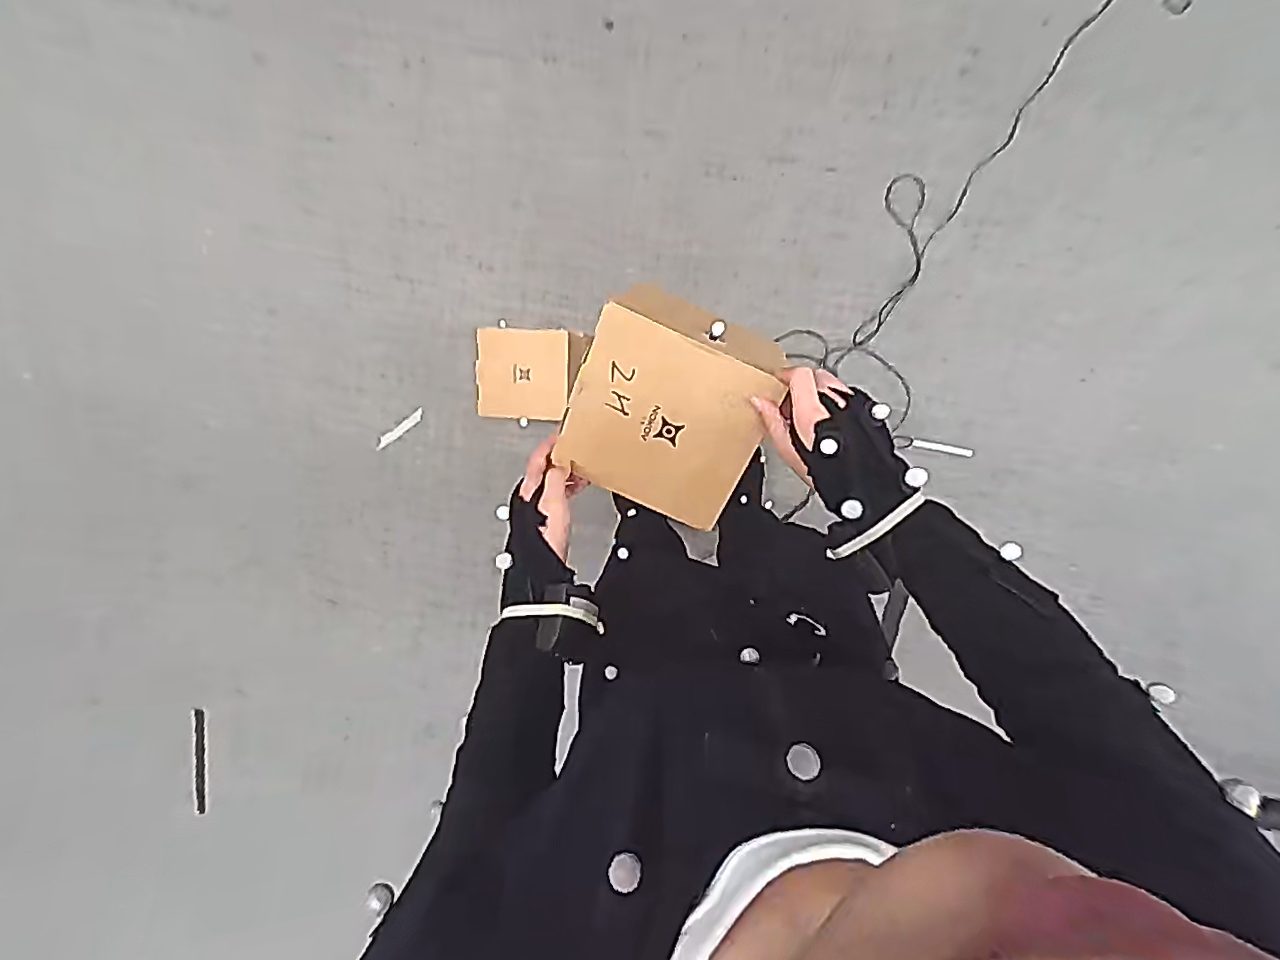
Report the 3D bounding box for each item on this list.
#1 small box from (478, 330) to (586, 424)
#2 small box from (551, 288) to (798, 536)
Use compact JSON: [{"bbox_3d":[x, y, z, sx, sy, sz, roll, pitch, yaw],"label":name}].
[{"bbox_3d":[-0.206,-0.204,1.073,0.179,0.176,0.168,3,101,6],"label":"small box"},{"bbox_3d":[0.037,-0.080,0.548,0.179,0.176,0.168,25,118,-1],"label":"small box"}]
